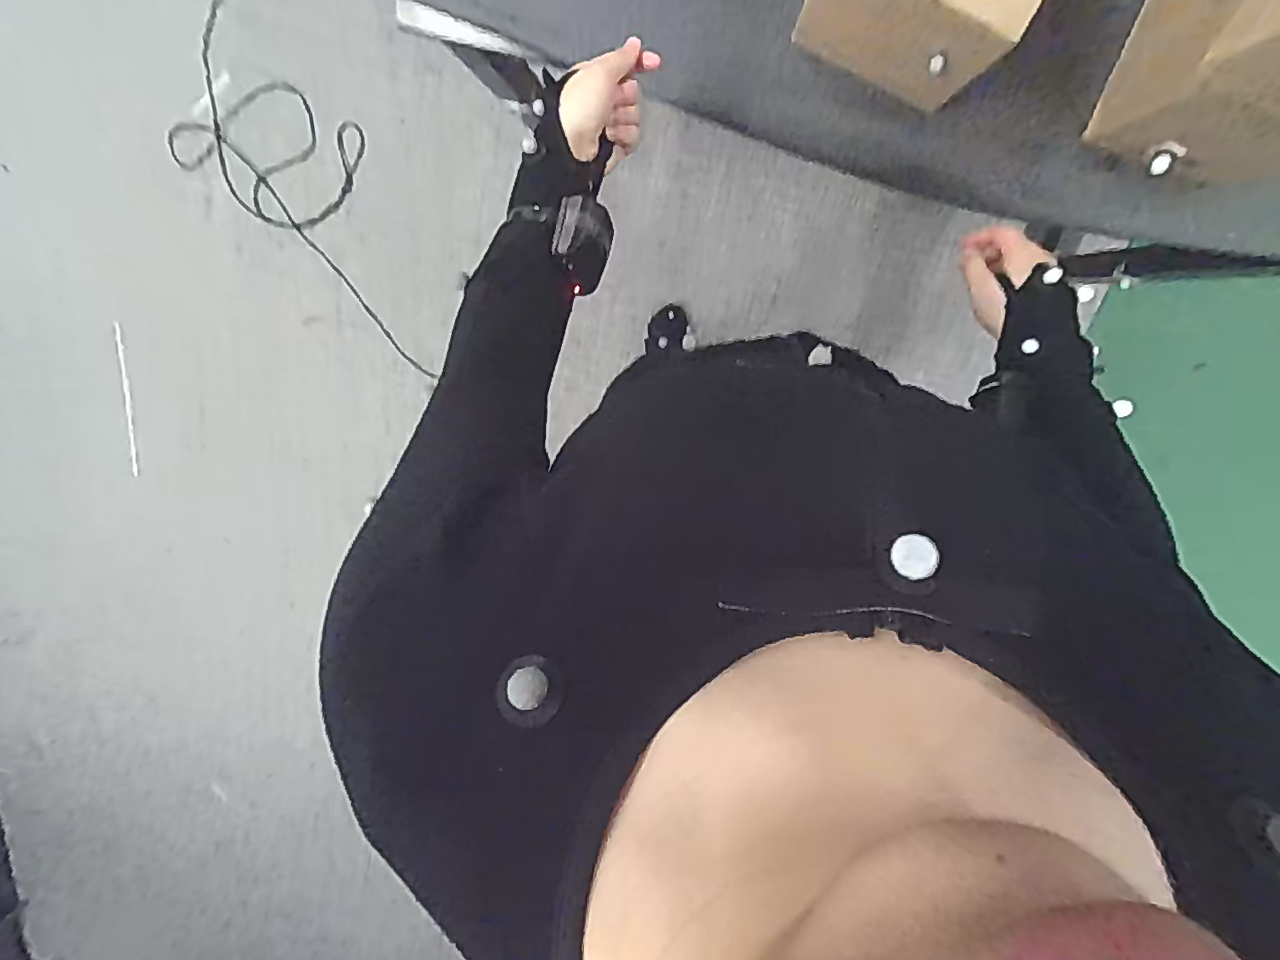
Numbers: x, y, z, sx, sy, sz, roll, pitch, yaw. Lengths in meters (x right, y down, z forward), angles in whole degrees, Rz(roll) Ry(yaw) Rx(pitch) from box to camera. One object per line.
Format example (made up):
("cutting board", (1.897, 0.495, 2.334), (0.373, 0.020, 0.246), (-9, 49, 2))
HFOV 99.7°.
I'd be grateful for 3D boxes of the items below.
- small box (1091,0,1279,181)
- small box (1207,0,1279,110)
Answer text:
("small box", (0.566, -0.396, 0.480), (0.168, 0.176, 0.179), (16, 109, 2))
("small box", (0.545, -0.334, 0.331), (0.179, 0.176, 0.168), (27, 108, -1))
